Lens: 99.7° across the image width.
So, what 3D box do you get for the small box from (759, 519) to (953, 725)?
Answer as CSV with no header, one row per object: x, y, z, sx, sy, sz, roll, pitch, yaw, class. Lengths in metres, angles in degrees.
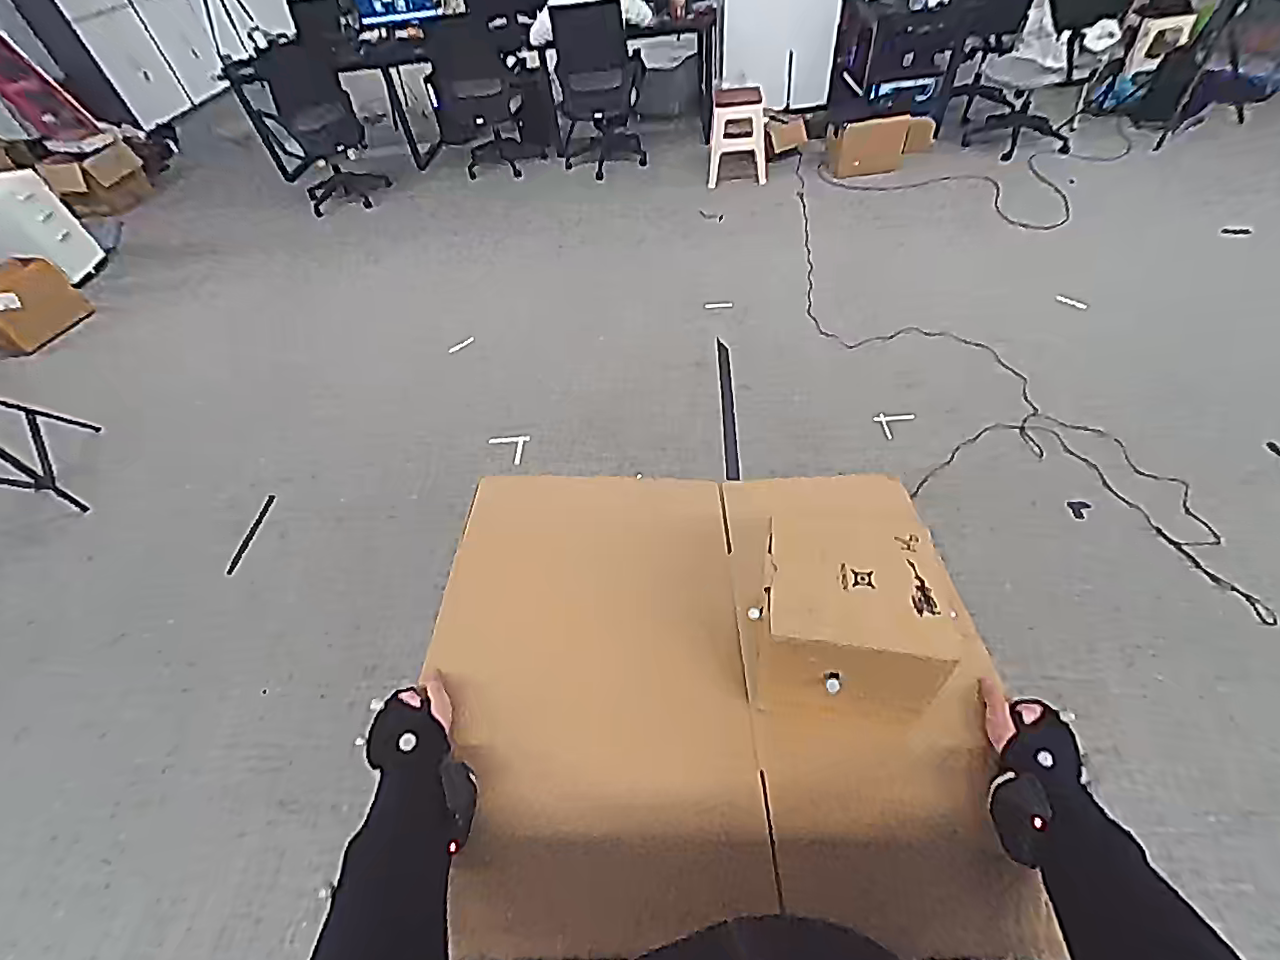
0.233,0.166,0.633,0.179,0.176,0.168,4,45,11,small box
